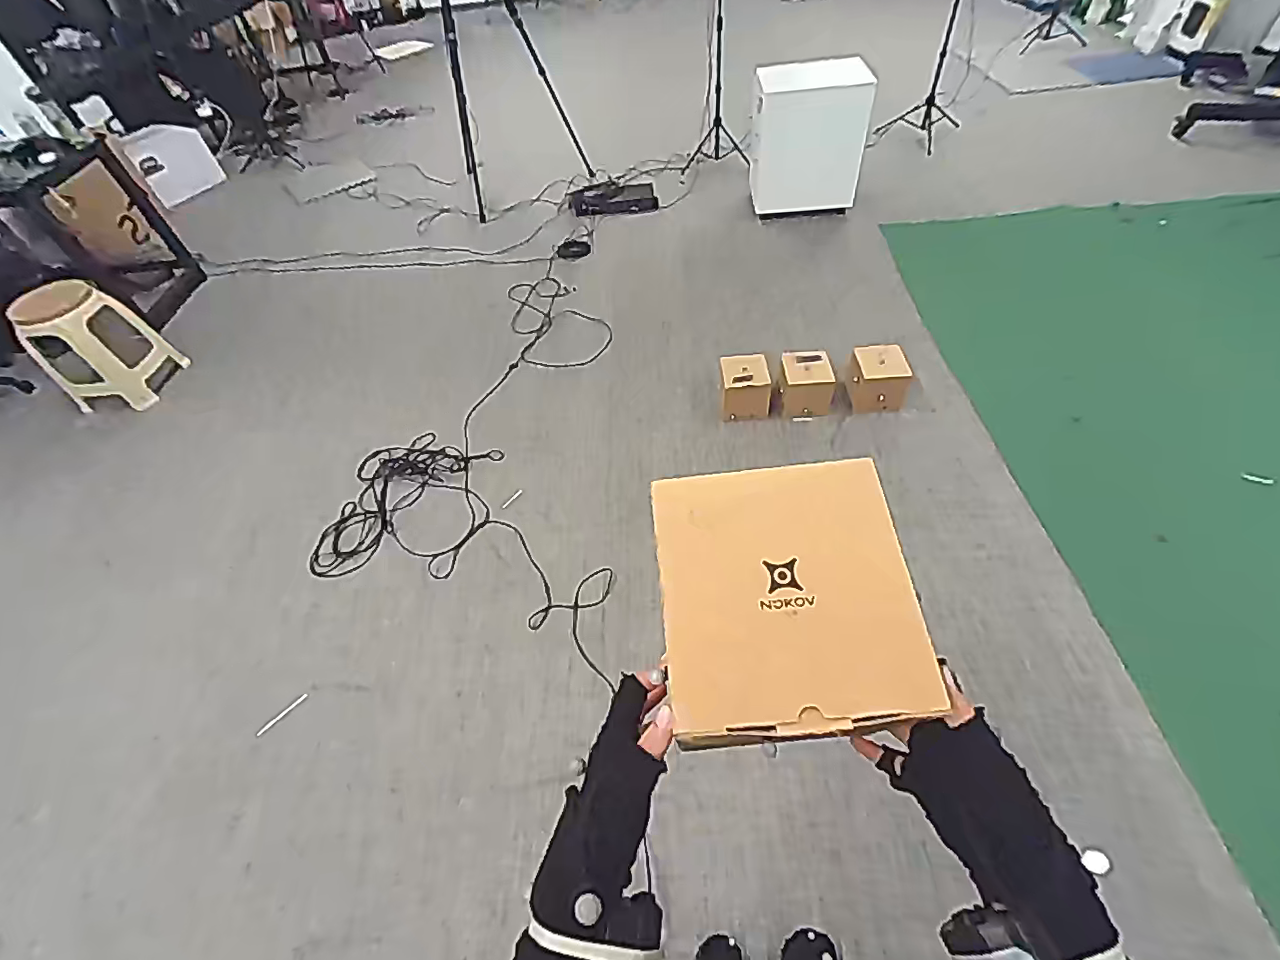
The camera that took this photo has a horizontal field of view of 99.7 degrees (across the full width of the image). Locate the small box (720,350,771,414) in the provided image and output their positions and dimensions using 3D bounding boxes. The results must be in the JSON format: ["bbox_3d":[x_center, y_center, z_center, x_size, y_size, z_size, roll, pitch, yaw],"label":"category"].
[{"bbox_3d":[0.390,-0.359,2.013,0.168,0.176,0.179,-4,50,4],"label":"small box"}]

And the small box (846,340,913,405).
[{"bbox_3d":[0.869,-0.386,1.978,0.168,0.176,0.179,-3,51,4],"label":"small box"}]

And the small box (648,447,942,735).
[{"bbox_3d":[0.097,0.096,0.429,0.168,0.176,0.179,-7,62,2],"label":"small box"}]
